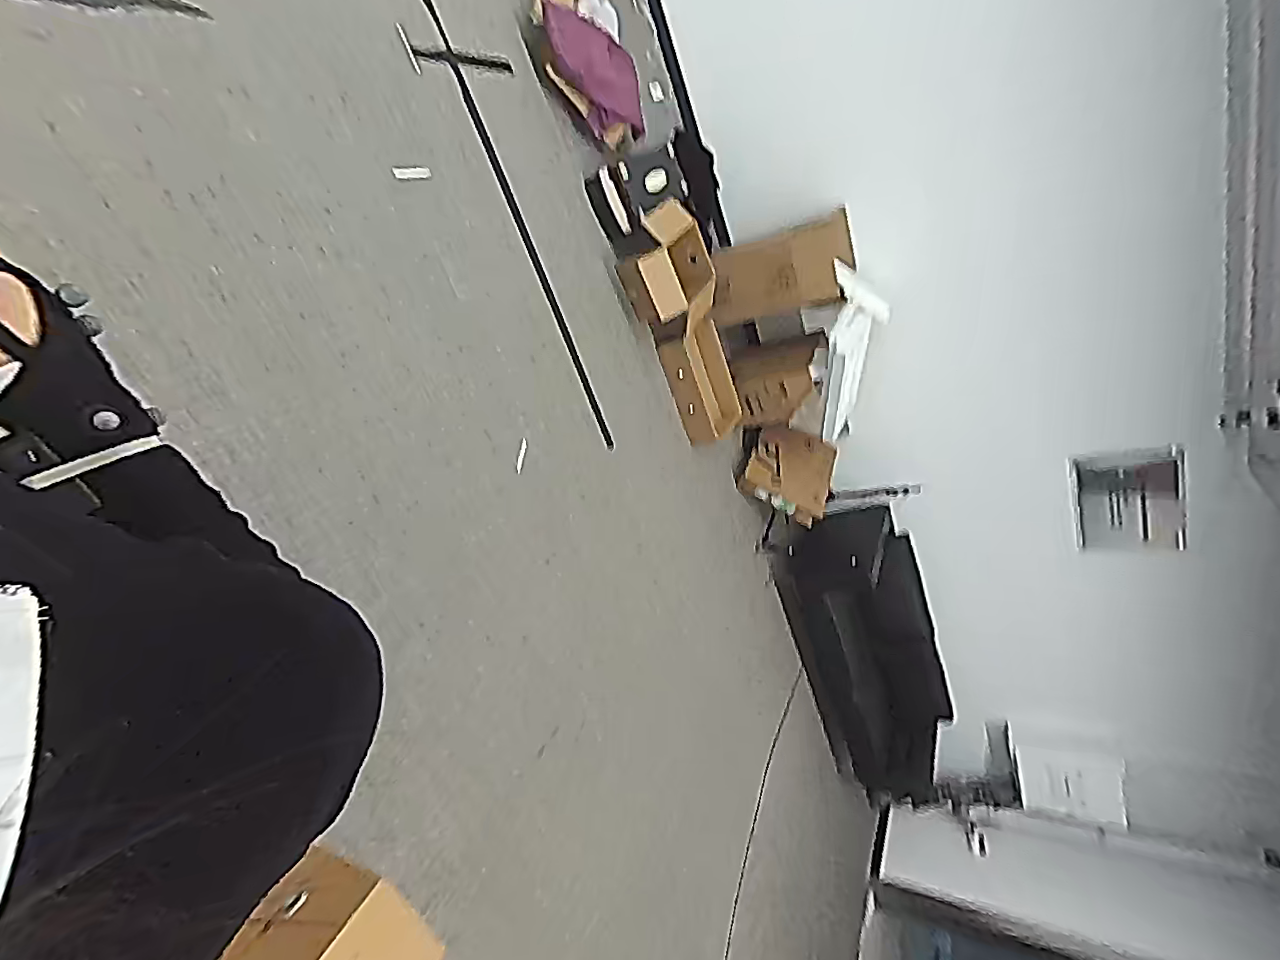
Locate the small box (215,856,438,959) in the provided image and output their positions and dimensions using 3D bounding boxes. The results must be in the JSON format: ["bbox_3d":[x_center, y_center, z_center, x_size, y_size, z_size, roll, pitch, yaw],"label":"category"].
[{"bbox_3d":[-0.419,0.649,0.726,0.168,0.176,0.179,-48,119,-50],"label":"small box"}]

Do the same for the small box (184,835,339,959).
[{"bbox_3d":[-0.540,0.687,0.830,0.168,0.176,0.179,-47,119,-49],"label":"small box"}]
